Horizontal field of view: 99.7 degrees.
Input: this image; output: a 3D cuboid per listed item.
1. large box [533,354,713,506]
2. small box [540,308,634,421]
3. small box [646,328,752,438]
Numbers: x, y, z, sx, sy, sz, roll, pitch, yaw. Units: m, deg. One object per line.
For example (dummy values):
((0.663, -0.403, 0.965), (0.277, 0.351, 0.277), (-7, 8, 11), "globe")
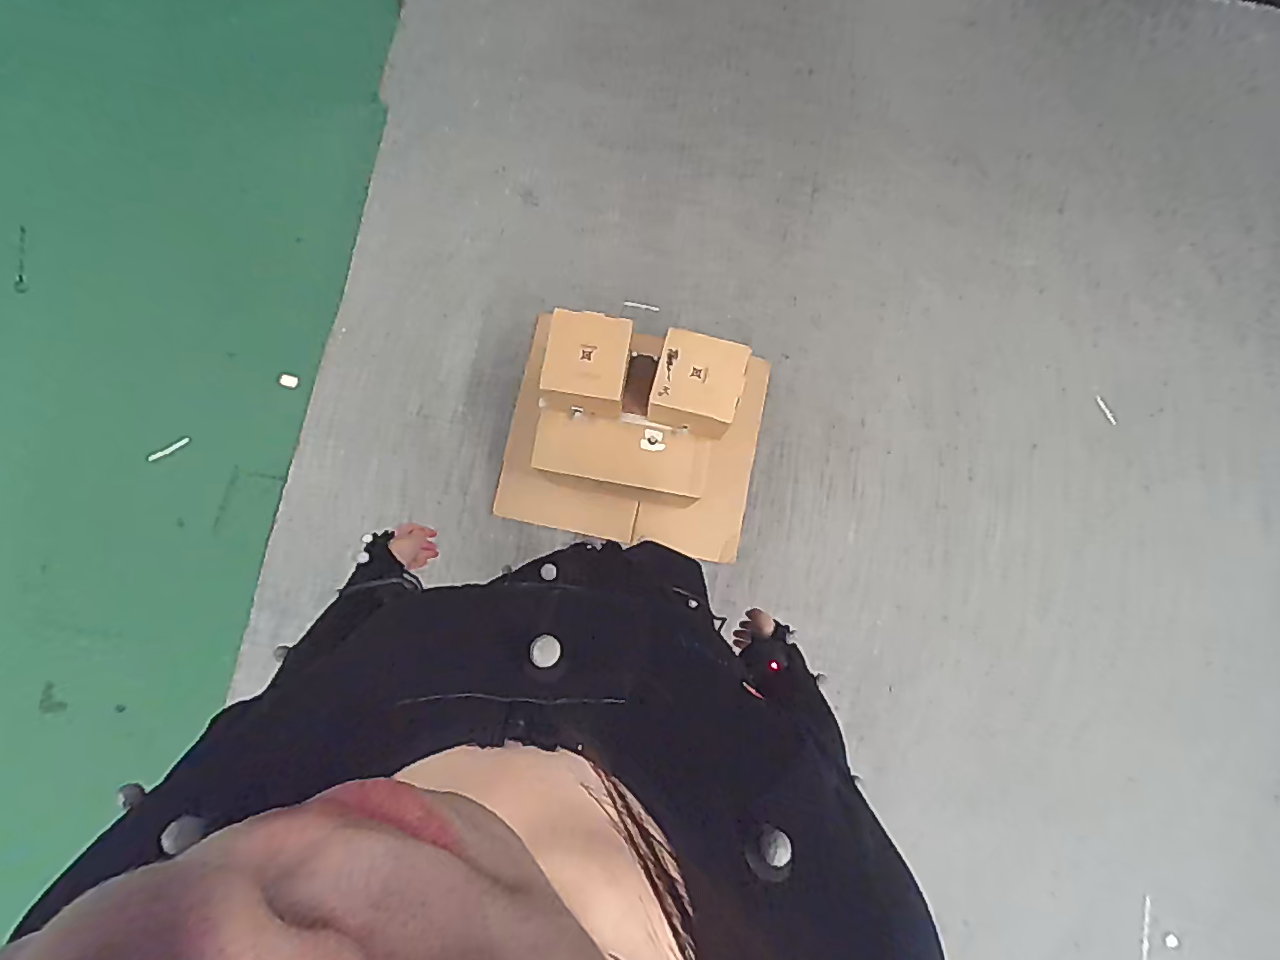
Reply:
((-0.034, -0.123, 1.391), (0.408, 0.320, 0.320), (10, 83, -2), "large box")
((-0.108, -0.240, 1.159), (0.168, 0.176, 0.179), (8, 82, 0), "small box")
((0.119, -0.197, 1.157), (0.179, 0.176, 0.168), (16, 83, 1), "small box")
